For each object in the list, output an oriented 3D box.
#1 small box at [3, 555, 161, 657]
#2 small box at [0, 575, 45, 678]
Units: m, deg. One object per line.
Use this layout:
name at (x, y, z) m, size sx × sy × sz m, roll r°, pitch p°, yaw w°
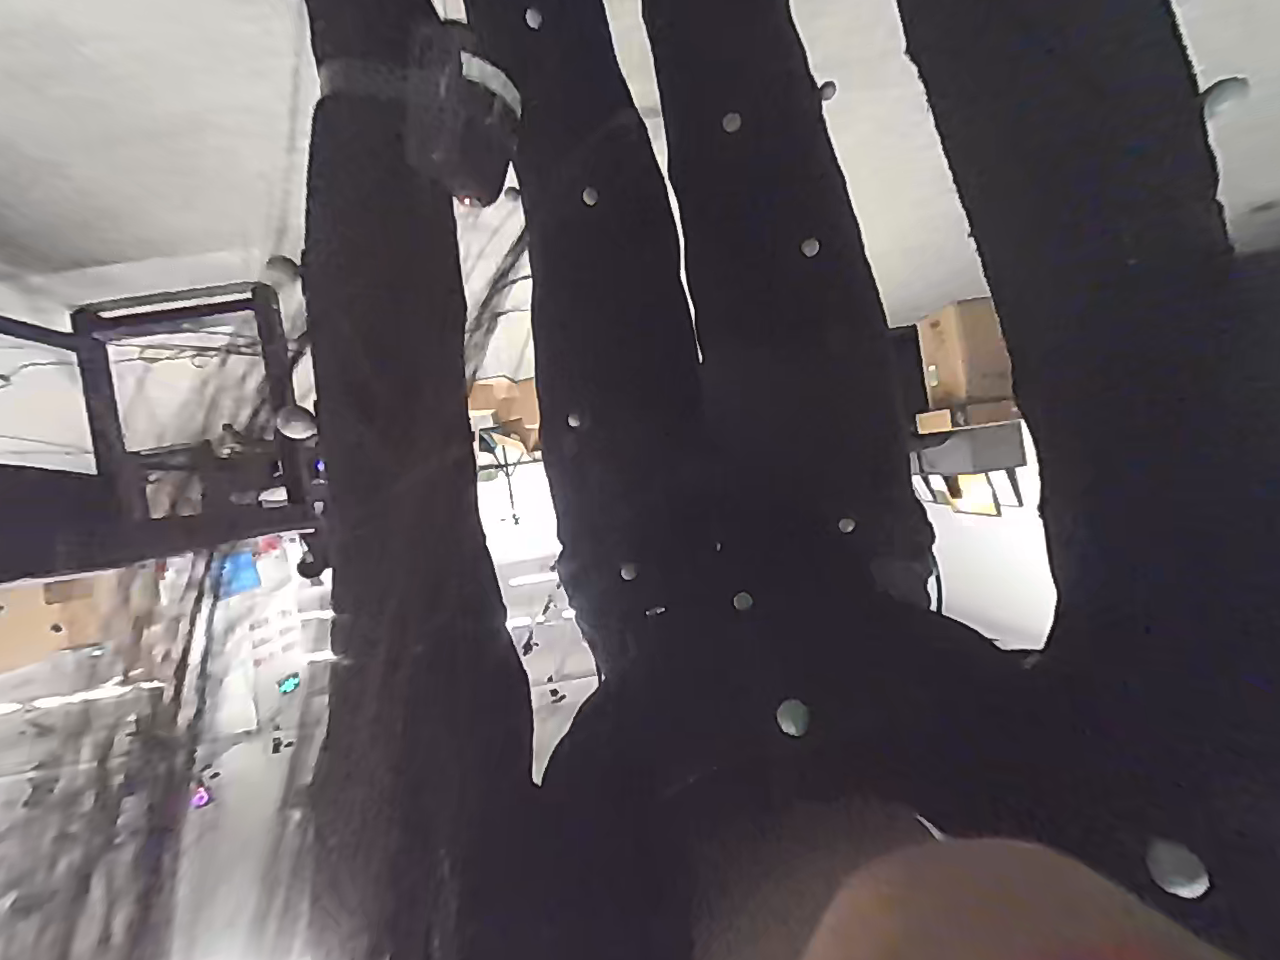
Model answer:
small box at (-1.160, 0.254, 1.120) m, size 0.179 × 0.176 × 0.168 m, roll -8°, pitch 180°, yaw -4°
small box at (-1.147, 0.256, 0.878) m, size 0.179 × 0.176 × 0.168 m, roll -9°, pitch -179°, yaw -3°
